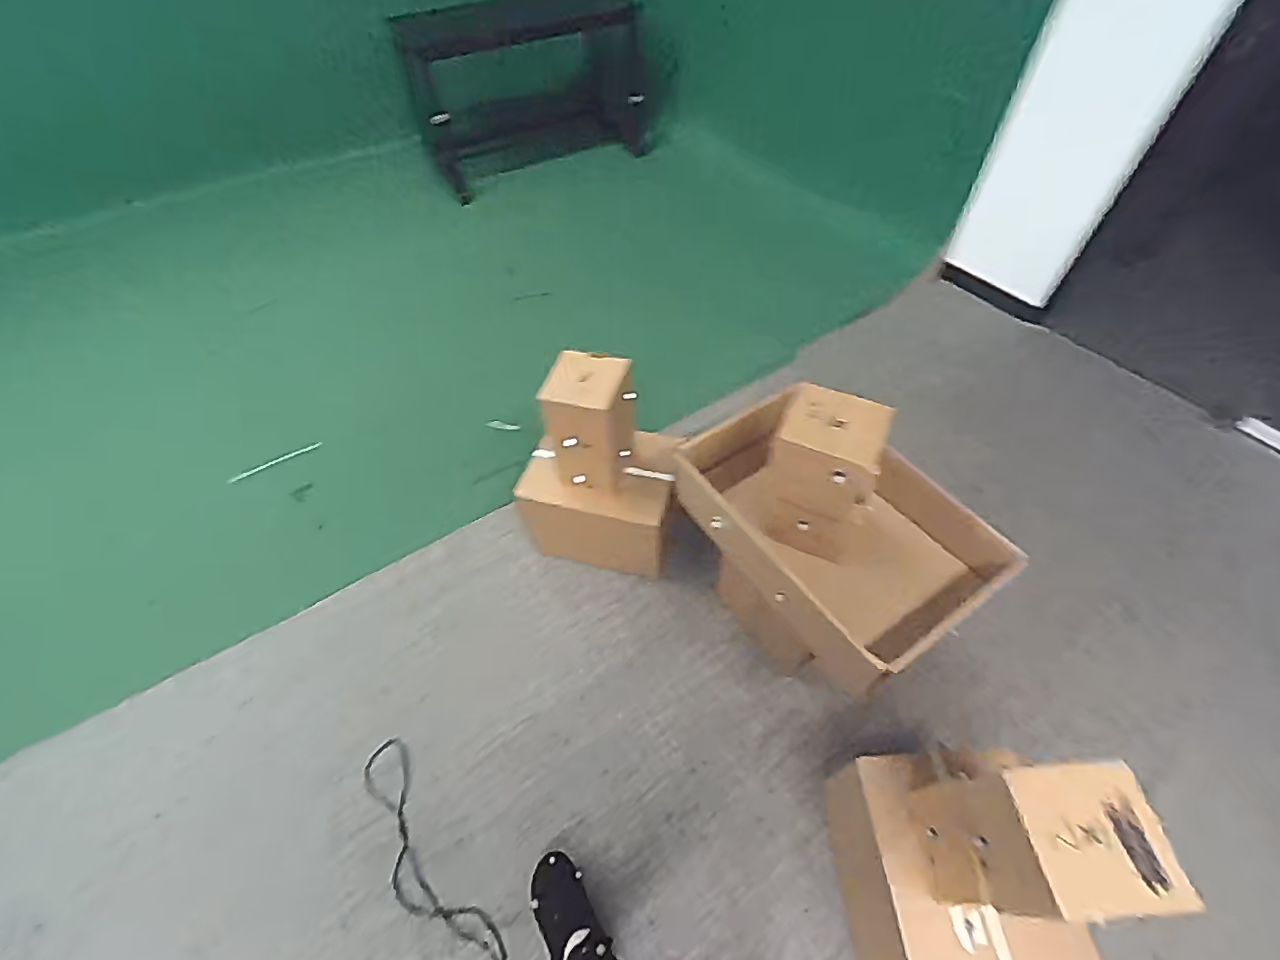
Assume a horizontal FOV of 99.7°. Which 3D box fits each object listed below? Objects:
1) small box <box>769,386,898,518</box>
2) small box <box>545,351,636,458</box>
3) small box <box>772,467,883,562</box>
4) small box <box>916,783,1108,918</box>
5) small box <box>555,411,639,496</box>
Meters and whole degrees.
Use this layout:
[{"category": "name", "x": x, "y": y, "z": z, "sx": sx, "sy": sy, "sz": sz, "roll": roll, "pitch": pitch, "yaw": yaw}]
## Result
[{"category": "small box", "x": 0.371, "y": -0.050, "z": 1.056, "sx": 0.179, "sy": 0.176, "sz": 0.168, "roll": 22, "pitch": 56, "yaw": 19}, {"category": "small box", "x": -0.111, "y": -0.182, "z": 1.312, "sx": 0.168, "sy": 0.176, "sz": 0.179, "roll": 13, "pitch": 54, "yaw": 13}, {"category": "small box", "x": 0.402, "y": 0.054, "z": 1.181, "sx": 0.179, "sy": 0.176, "sz": 0.168, "roll": 21, "pitch": 57, "yaw": 18}, {"category": "small box", "x": 0.590, "y": 0.605, "z": 0.887, "sx": 0.179, "sy": 0.176, "sz": 0.168, "roll": 1, "pitch": 53, "yaw": 2}, {"category": "small box", "x": -0.108, "y": -0.088, "z": 1.445, "sx": 0.168, "sy": 0.176, "sz": 0.179, "roll": 15, "pitch": 55, "yaw": 14}]
